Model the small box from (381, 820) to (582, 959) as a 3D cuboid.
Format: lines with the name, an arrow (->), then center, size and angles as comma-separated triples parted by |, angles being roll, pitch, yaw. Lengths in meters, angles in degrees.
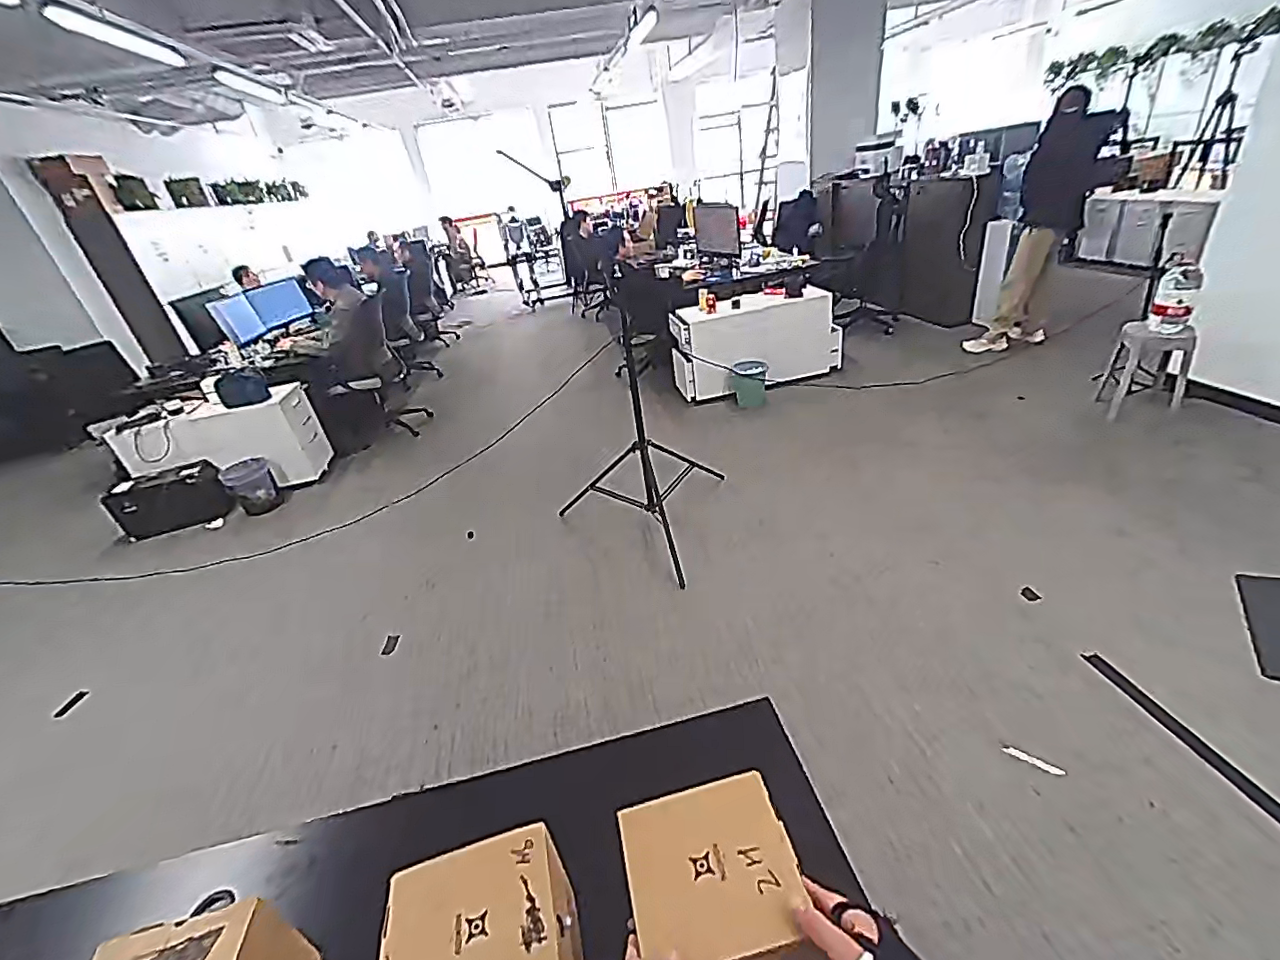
small box -> -0.165, 0.527, 0.593 | 0.179, 0.176, 0.168 | -15, 30, -9

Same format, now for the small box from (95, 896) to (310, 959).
small box -> -0.475, 0.593, 0.565 | 0.168, 0.176, 0.179 | -13, 31, -6
